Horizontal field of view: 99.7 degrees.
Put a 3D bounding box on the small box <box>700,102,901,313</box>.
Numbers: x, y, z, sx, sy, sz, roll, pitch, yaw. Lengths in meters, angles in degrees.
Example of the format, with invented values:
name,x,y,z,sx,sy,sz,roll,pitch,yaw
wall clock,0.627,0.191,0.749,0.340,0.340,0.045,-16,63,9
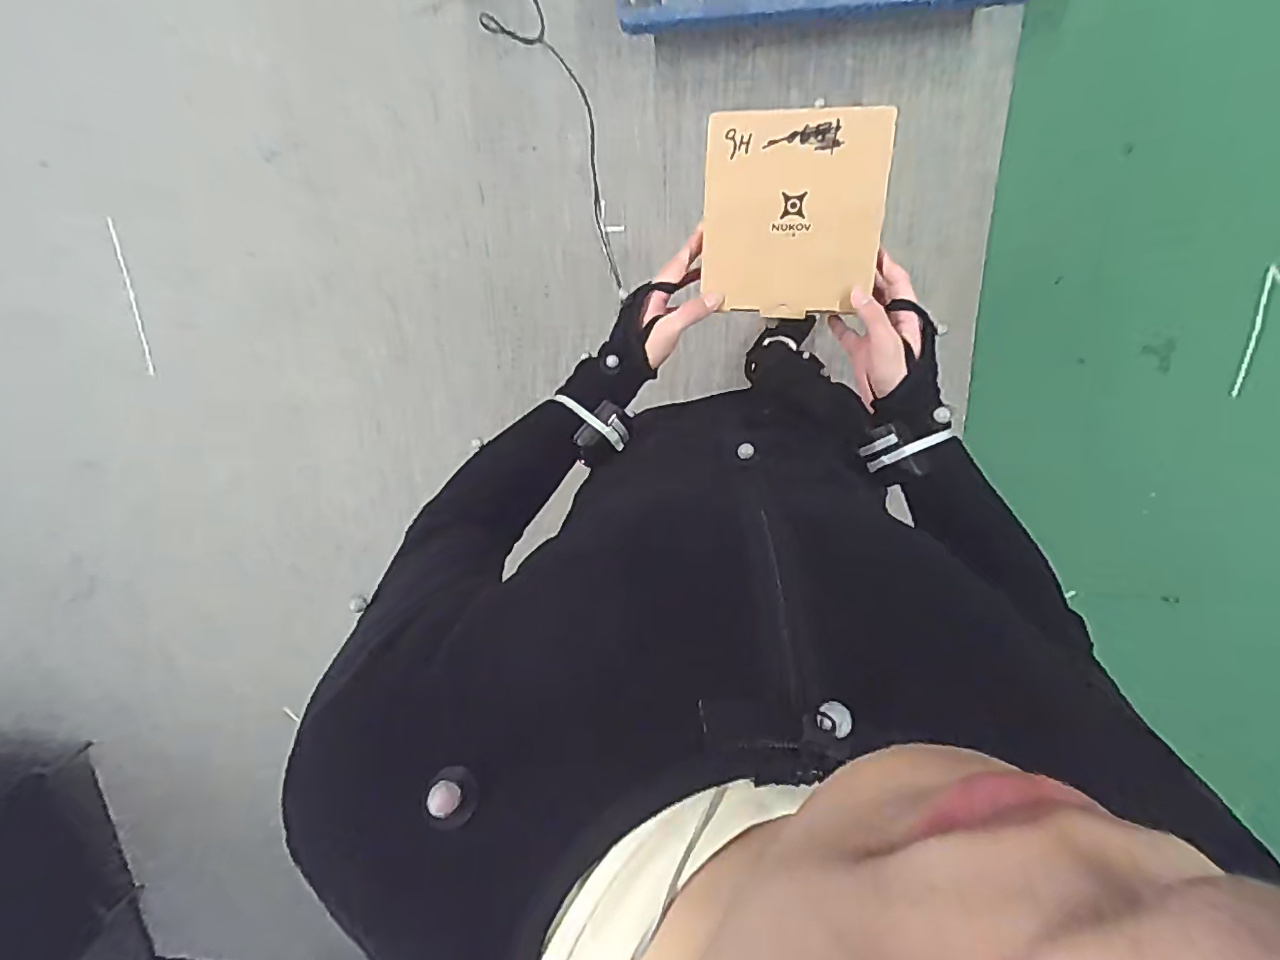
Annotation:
name,x,y,z,sx,sy,sz,roll,pitch,yaw
small box,0.156,-0.275,0.578,0.168,0.176,0.179,4,108,8
